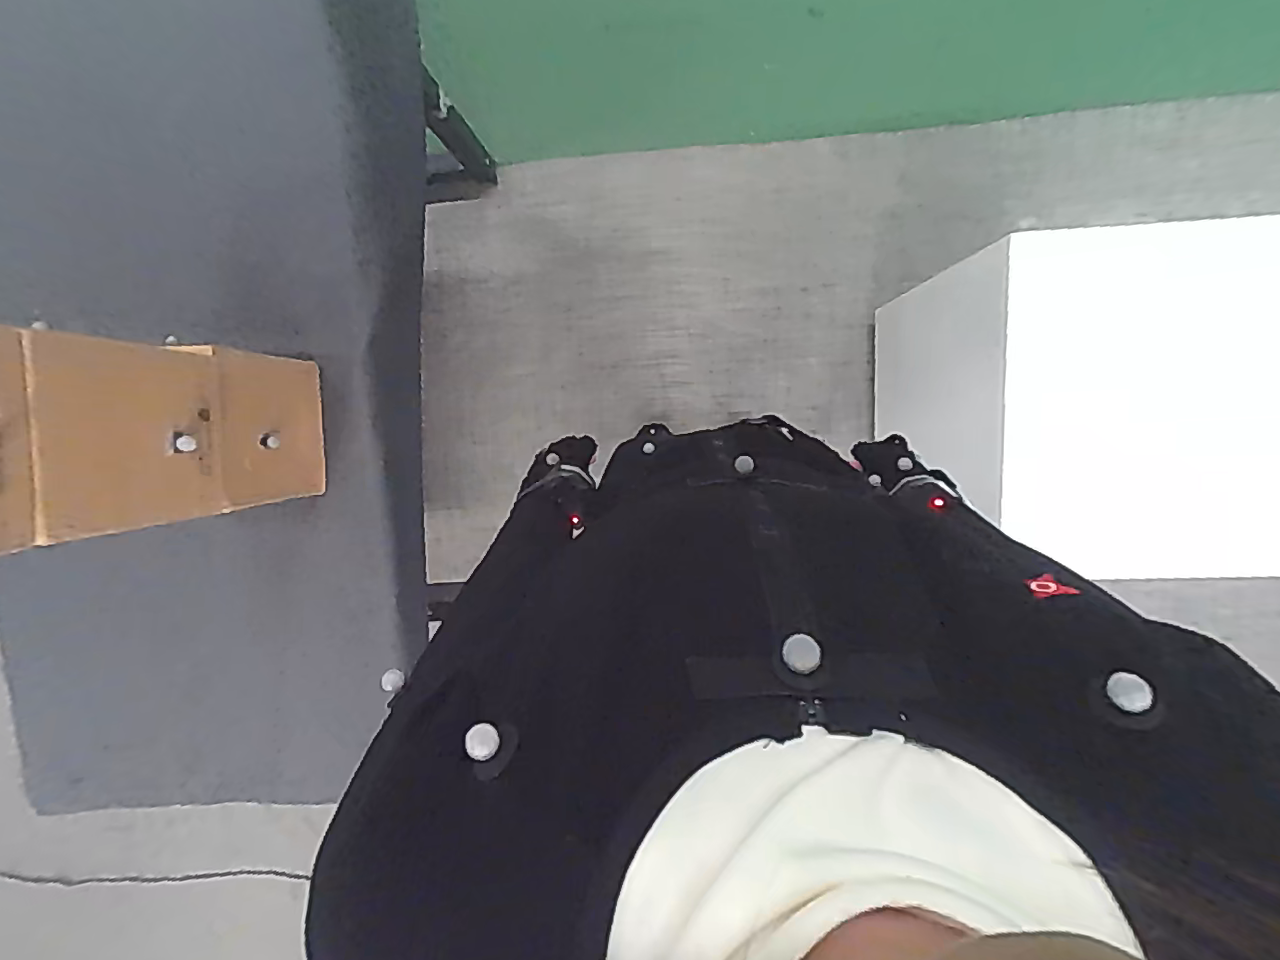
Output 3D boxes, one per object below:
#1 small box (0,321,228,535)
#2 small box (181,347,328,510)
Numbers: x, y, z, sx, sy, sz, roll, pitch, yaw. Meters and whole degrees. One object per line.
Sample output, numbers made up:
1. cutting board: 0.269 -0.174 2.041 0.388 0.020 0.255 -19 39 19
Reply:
1. small box: -0.534 -0.047 0.501 0.179 0.176 0.168 0 96 7
2. small box: -0.513 -0.065 0.663 0.168 0.176 0.179 0 97 6
